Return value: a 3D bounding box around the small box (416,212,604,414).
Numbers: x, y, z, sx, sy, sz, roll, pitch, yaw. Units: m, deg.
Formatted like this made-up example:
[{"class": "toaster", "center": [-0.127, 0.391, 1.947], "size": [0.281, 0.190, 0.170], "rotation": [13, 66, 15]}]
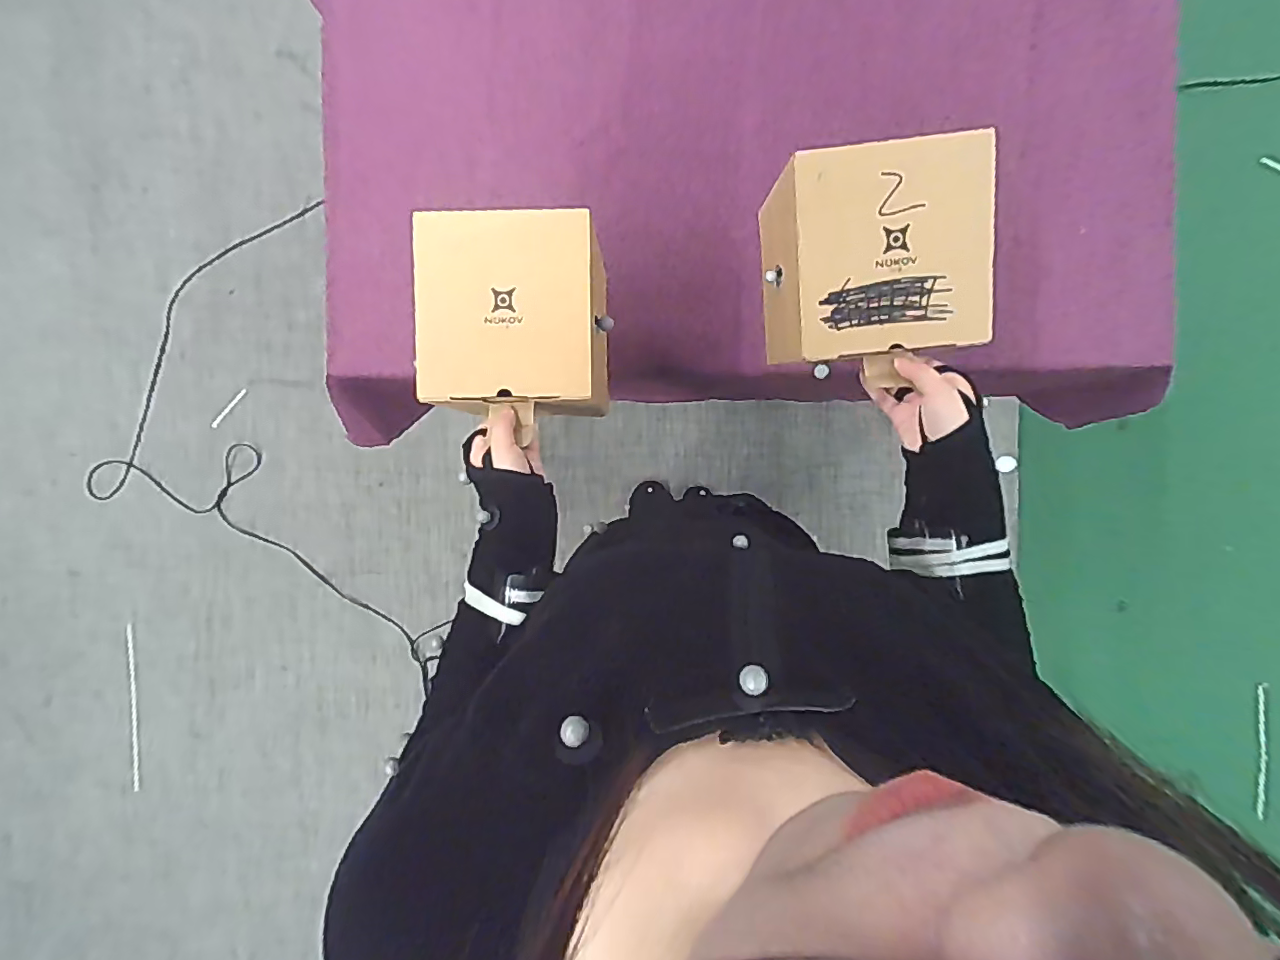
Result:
[{"class": "small box", "center": [-0.130, -0.168, 0.594], "size": [0.168, 0.176, 0.179], "rotation": [0, 93, 1]}]
